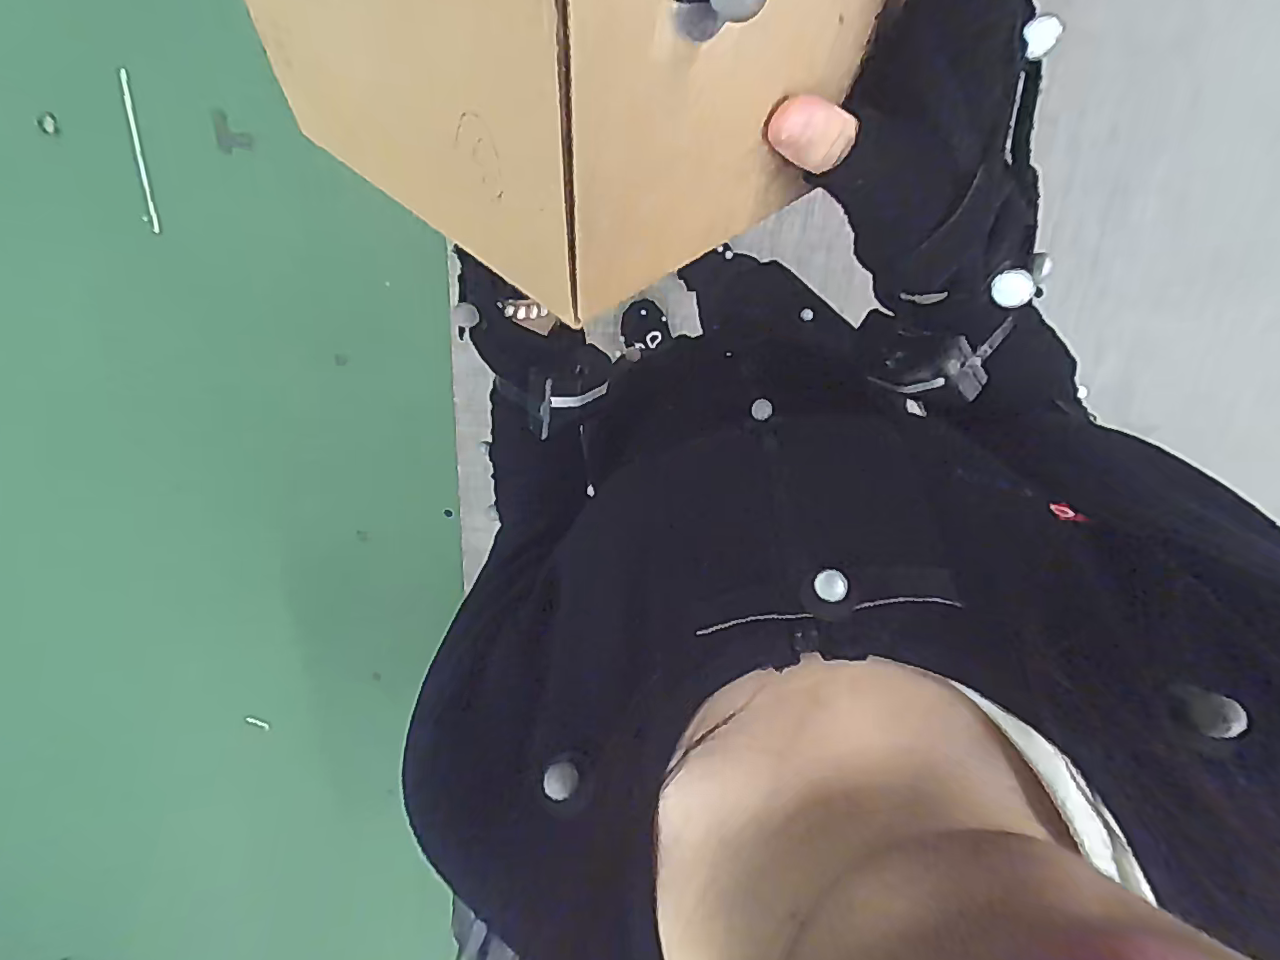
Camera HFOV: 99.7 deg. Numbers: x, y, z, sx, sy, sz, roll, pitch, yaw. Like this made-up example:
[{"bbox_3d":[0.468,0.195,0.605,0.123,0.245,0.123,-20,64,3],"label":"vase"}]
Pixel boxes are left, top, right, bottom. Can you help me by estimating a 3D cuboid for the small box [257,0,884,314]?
[{"bbox_3d":[-0.019,-0.194,0.170,0.168,0.176,0.179,39,150,21],"label":"small box"}]
